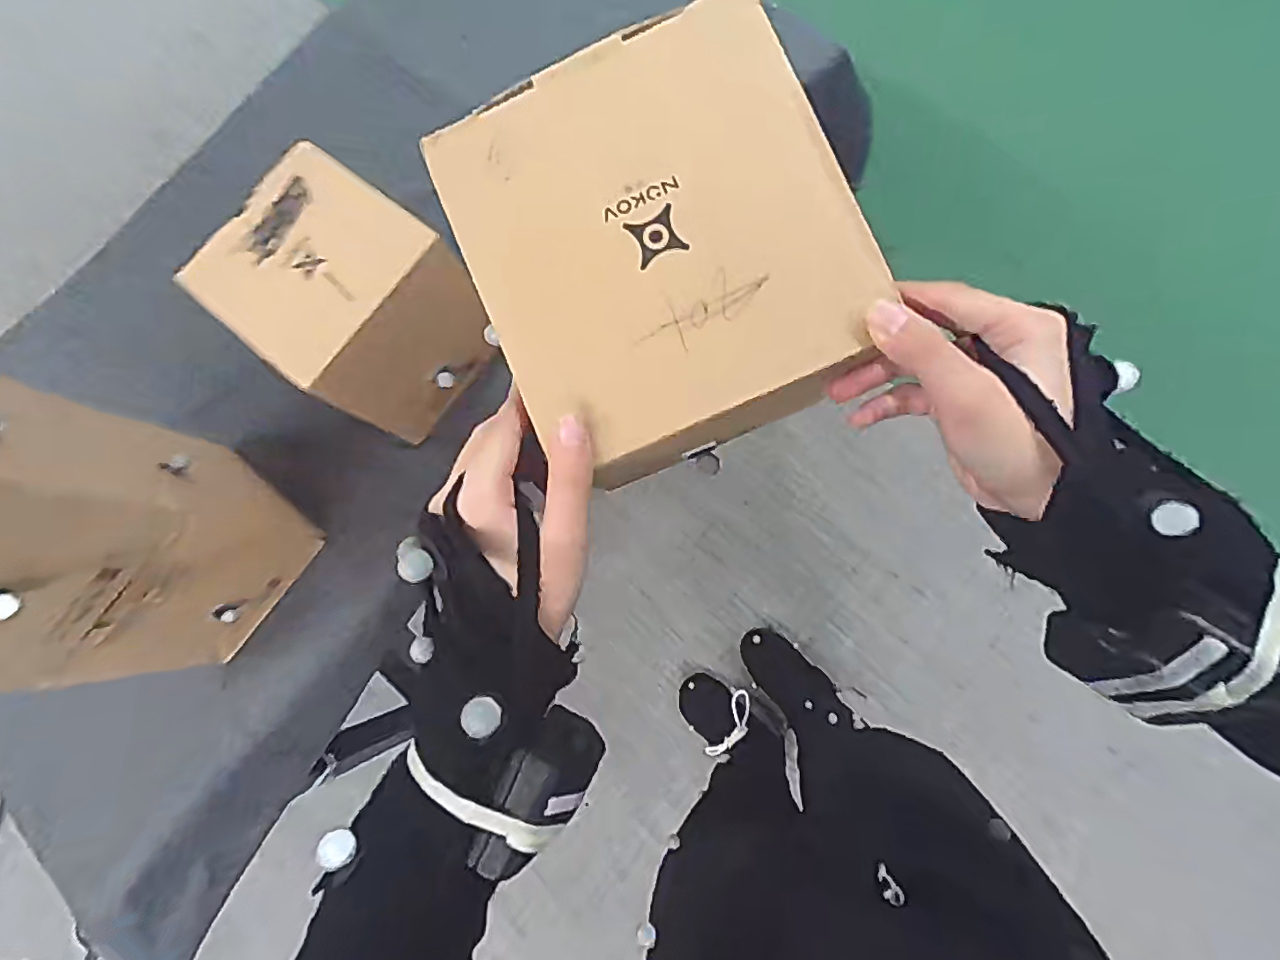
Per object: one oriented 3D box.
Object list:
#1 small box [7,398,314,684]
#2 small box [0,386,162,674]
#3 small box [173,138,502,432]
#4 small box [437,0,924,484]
[{"bbox_3d":[-0.463,0.059,0.505,0.179,0.176,0.168,36,85,12],"label":"small box"},{"bbox_3d":[-0.478,0.025,0.346,0.179,0.176,0.168,34,85,11],"label":"small box"},{"bbox_3d":[-0.269,-0.169,0.521,0.179,0.176,0.168,37,86,13],"label":"small box"},{"bbox_3d":[0.019,-0.106,0.313,0.168,0.176,0.179,-22,86,4],"label":"small box"}]
